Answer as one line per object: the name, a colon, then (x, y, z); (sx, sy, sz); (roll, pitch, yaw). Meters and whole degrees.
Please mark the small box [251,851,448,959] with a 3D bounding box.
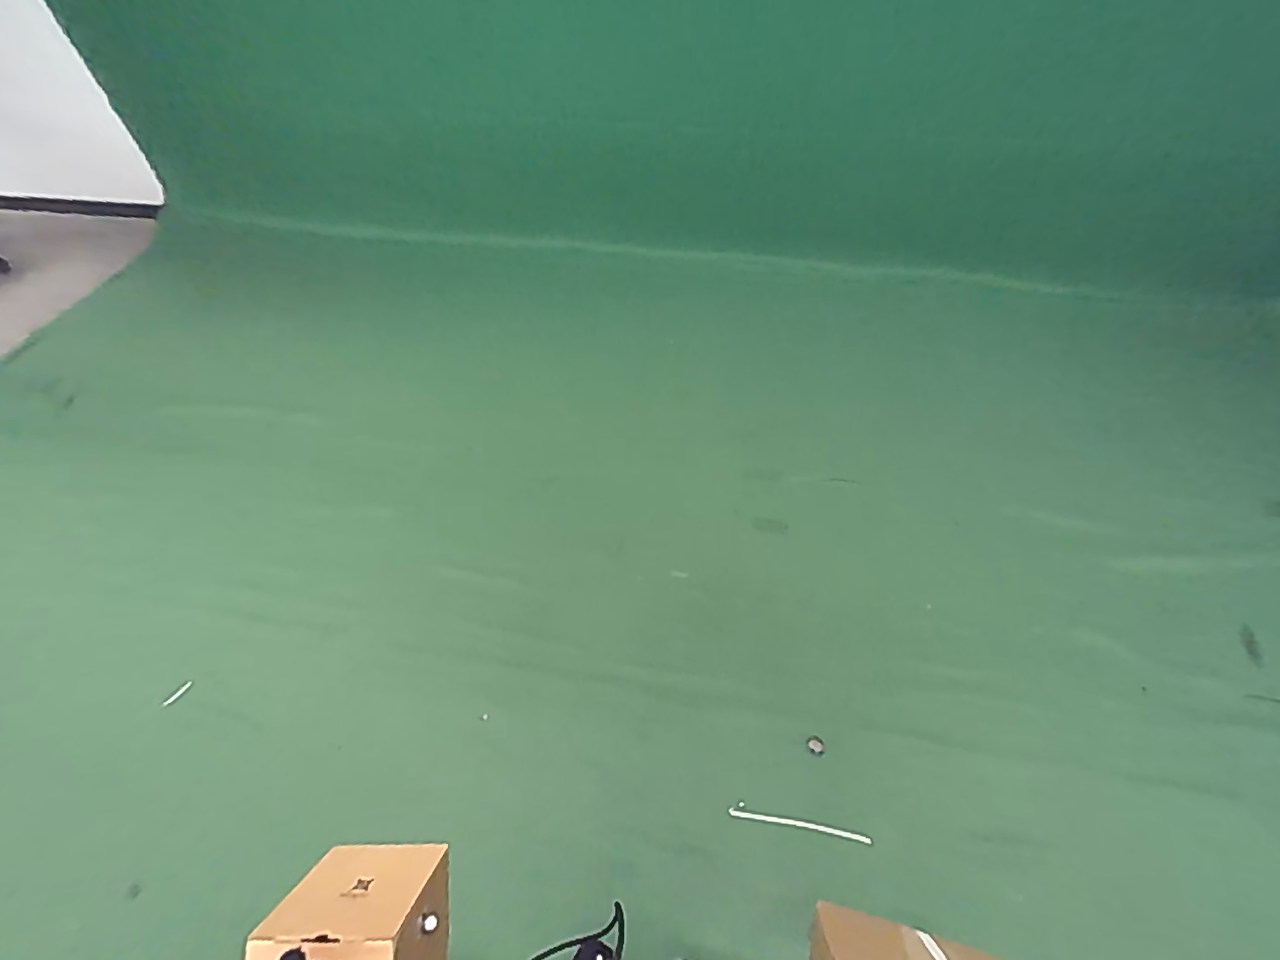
small box: (-0.355, 0.605, 0.678); (0.168, 0.179, 0.176); (-1, 86, 1)
